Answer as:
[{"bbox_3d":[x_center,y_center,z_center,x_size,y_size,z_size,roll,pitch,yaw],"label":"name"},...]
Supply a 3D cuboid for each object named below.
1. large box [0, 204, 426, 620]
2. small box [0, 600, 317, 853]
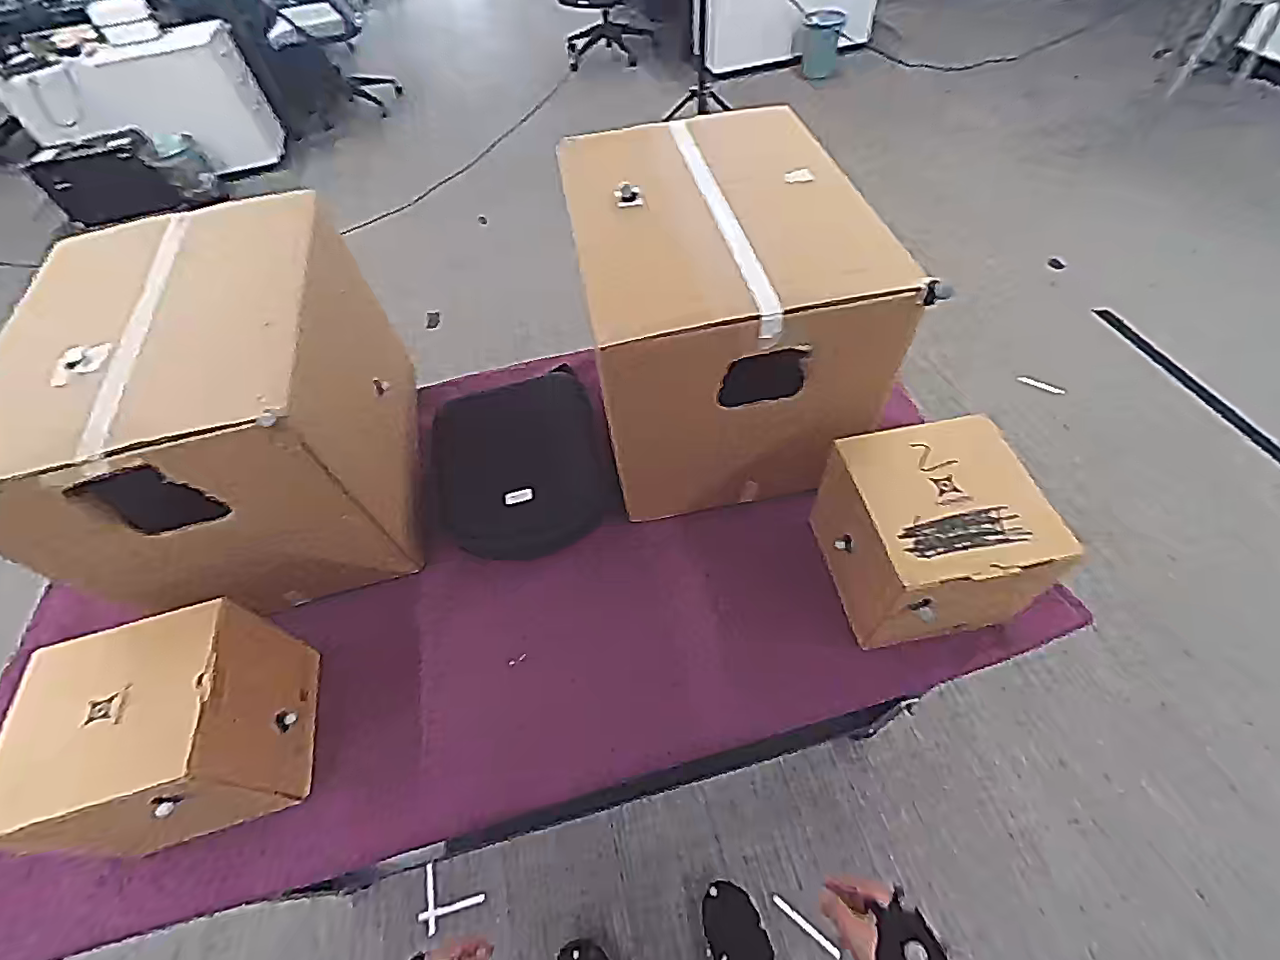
[{"bbox_3d":[-0.494,-0.076,0.691,0.320,0.320,0.408,-16,57,-5],"label":"large box"},{"bbox_3d":[-0.462,0.250,0.540,0.179,0.176,0.168,-17,54,-7],"label":"small box"}]
